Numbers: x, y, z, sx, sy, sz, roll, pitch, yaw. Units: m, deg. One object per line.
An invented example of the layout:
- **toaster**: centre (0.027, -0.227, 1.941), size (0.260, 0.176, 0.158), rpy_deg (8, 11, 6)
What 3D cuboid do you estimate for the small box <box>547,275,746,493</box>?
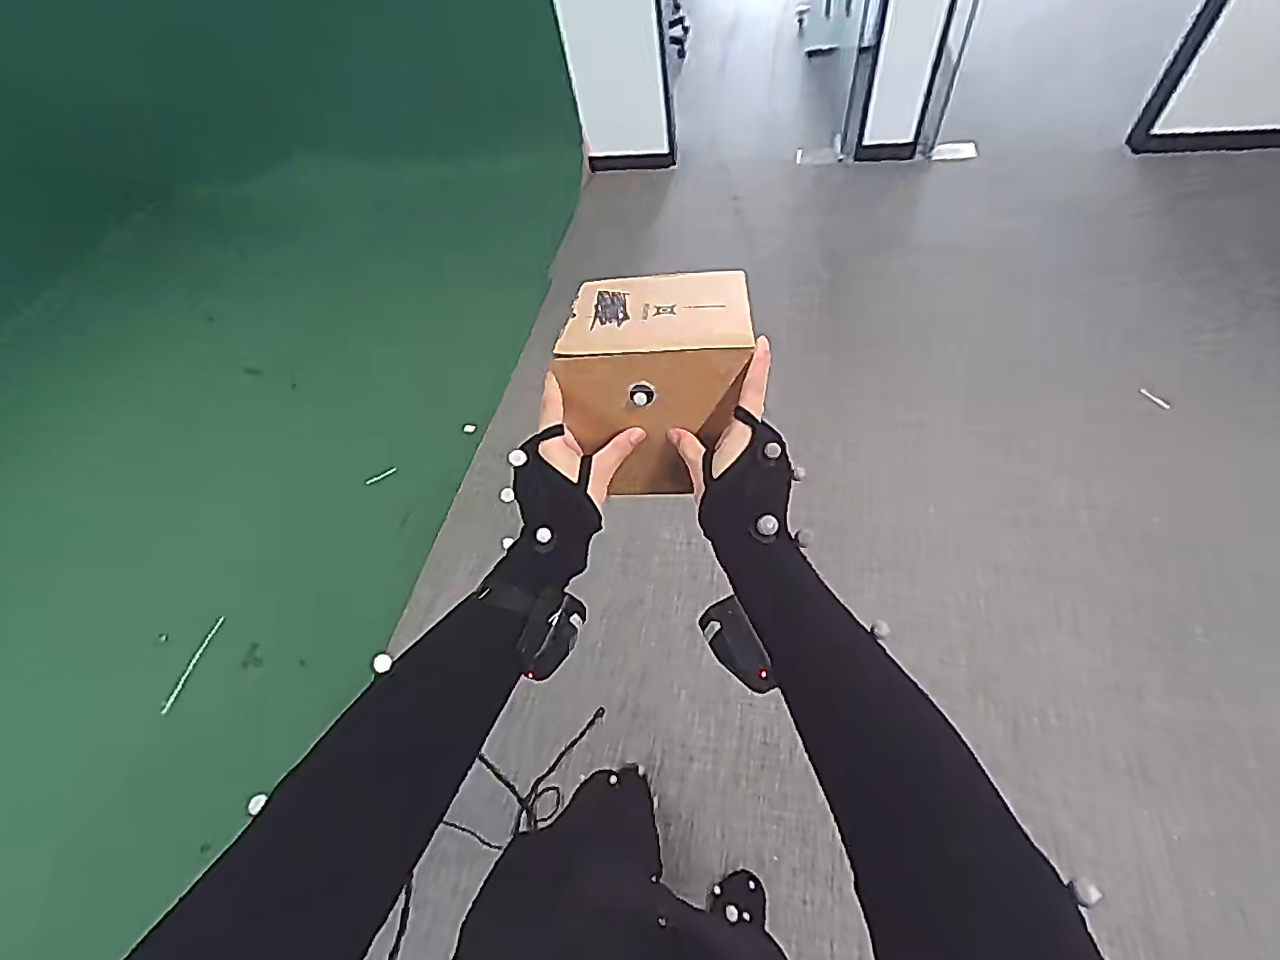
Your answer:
- **small box**: centre (0.019, -0.098, 0.570), size (0.179, 0.176, 0.168), rpy_deg (-2, 41, 7)
